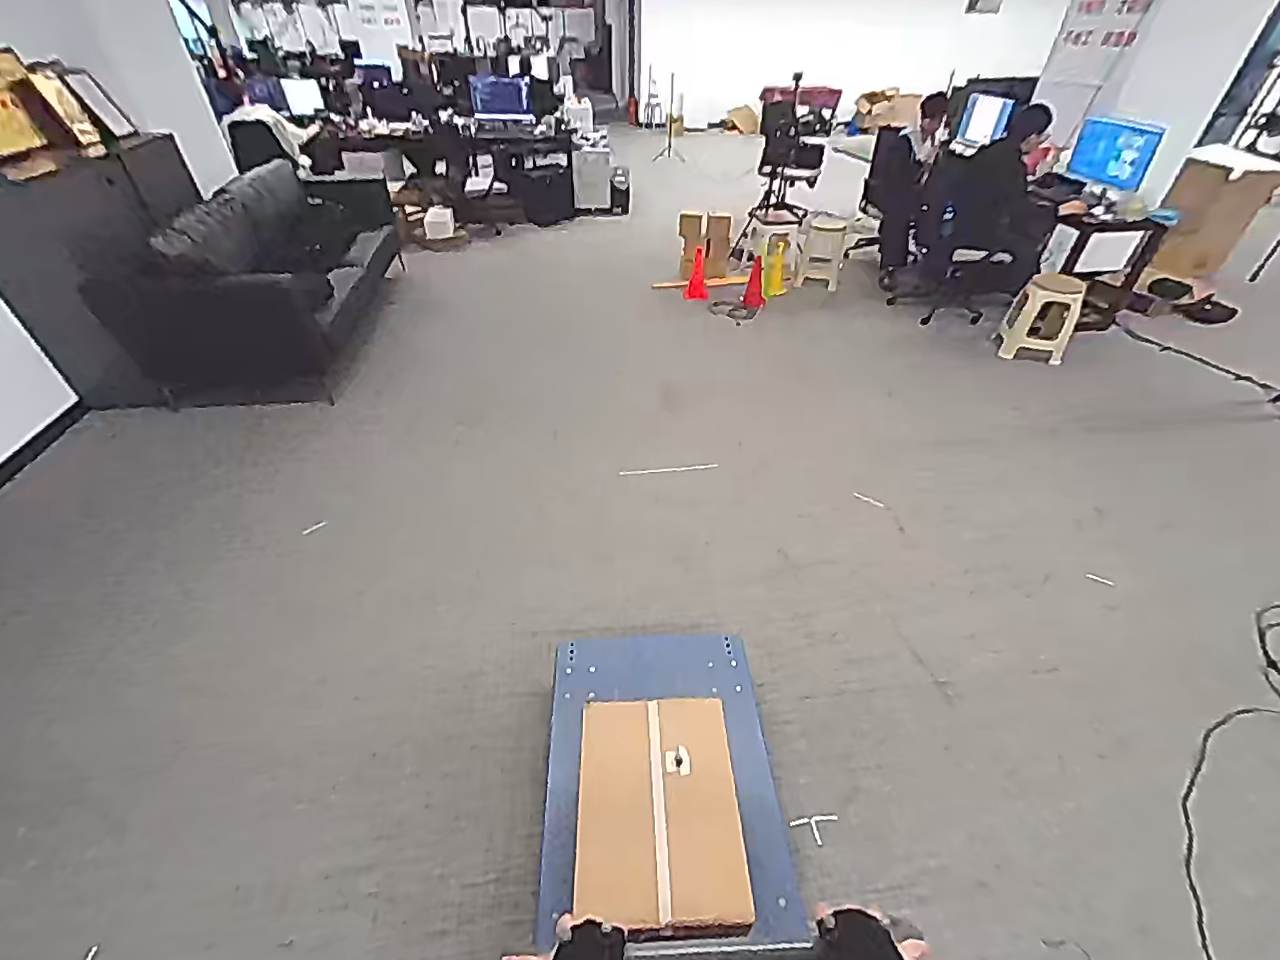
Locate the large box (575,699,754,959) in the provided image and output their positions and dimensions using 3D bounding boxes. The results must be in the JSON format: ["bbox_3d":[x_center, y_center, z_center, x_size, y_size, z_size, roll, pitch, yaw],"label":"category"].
[{"bbox_3d":[0.033,0.741,1.157,0.320,0.320,0.408,-1,38,-3],"label":"large box"}]
